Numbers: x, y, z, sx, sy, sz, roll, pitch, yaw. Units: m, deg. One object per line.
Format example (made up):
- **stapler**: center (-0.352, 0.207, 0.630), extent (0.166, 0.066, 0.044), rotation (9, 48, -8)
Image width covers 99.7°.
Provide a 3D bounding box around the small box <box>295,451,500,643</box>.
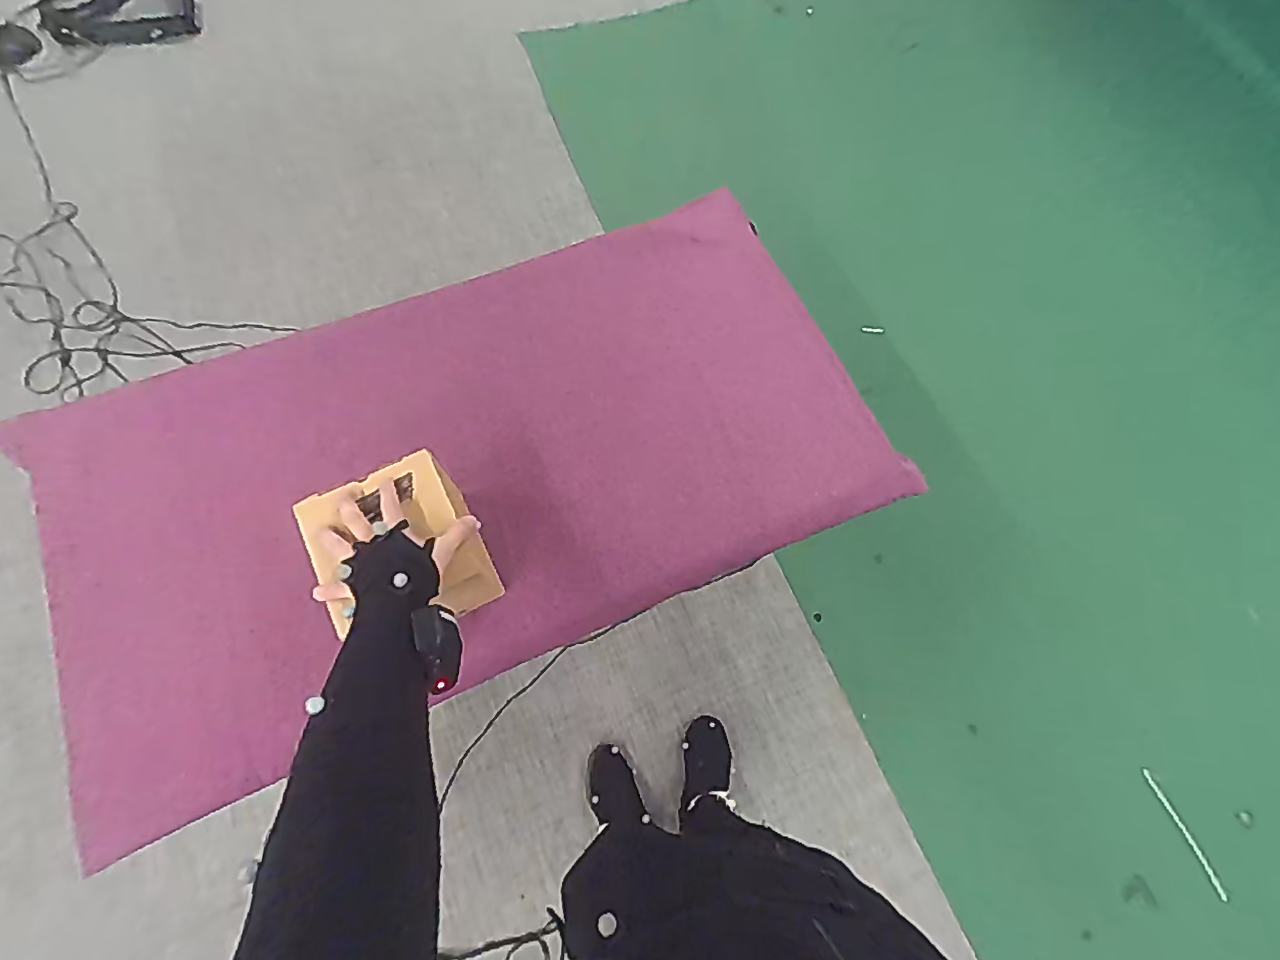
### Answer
- **small box**: center (-0.301, 0.095, 0.703), extent (0.168, 0.176, 0.179), rotation (-26, 74, -12)
